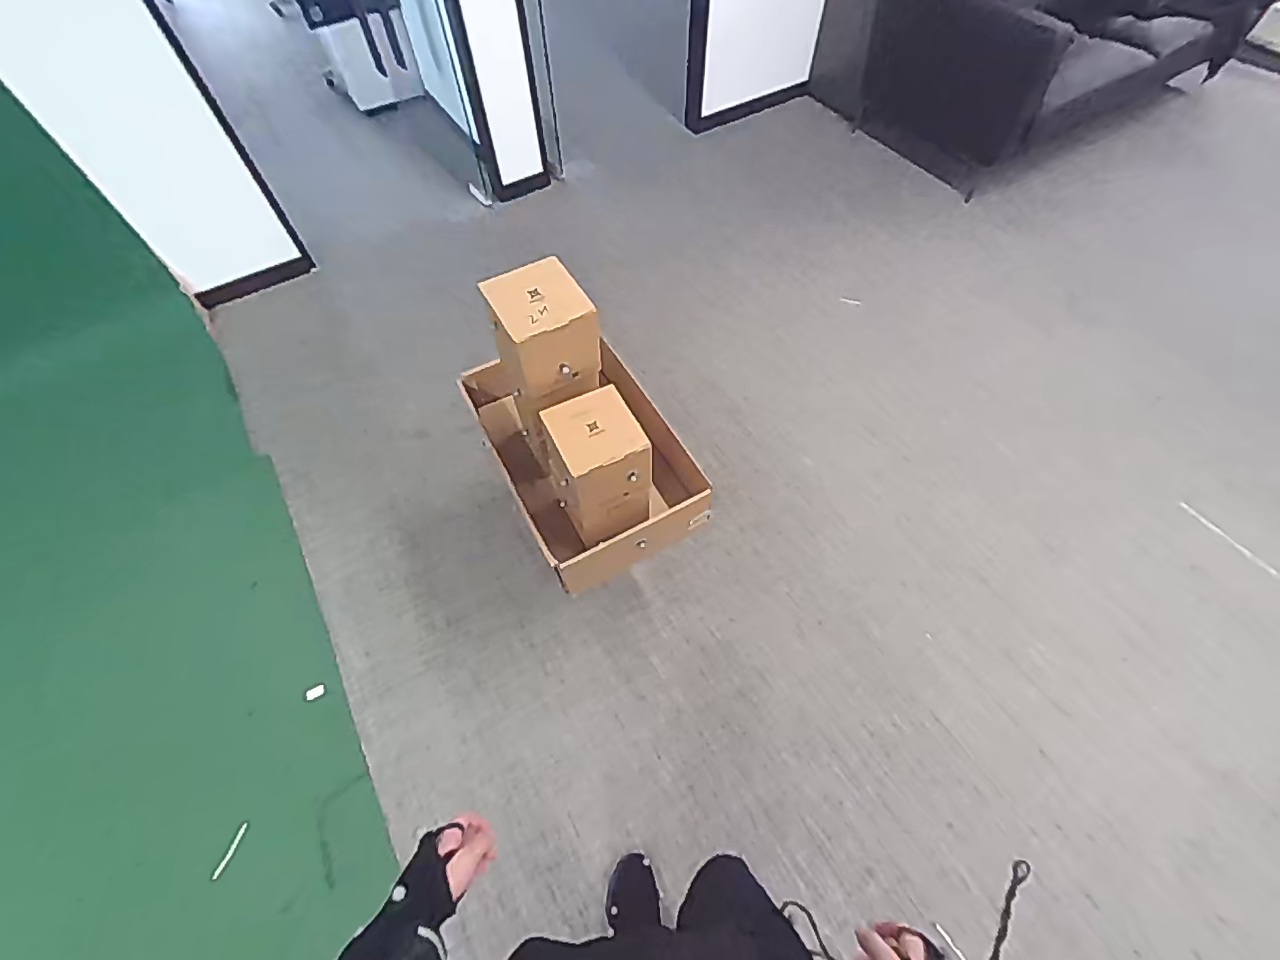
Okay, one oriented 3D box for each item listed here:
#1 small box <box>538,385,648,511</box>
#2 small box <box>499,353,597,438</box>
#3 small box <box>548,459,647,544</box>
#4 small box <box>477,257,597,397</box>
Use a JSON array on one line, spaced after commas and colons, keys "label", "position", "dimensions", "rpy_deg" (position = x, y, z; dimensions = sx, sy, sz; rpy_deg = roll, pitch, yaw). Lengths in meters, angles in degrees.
[{"label": "small box", "position": [-0.090, -0.057, 1.111], "dimensions": [0.168, 0.176, 0.179], "rpy_deg": [-24, 60, -14]}, {"label": "small box", "position": [-0.206, -0.229, 1.224], "dimensions": [0.168, 0.176, 0.179], "rpy_deg": [-26, 64, -14]}, {"label": "small box", "position": [-0.092, 0.028, 1.250], "dimensions": [0.168, 0.176, 0.179], "rpy_deg": [-25, 60, -14]}, {"label": "small box", "position": [-0.199, -0.300, 1.075], "dimensions": [0.168, 0.176, 0.179], "rpy_deg": [-28, 65, -15]}]
